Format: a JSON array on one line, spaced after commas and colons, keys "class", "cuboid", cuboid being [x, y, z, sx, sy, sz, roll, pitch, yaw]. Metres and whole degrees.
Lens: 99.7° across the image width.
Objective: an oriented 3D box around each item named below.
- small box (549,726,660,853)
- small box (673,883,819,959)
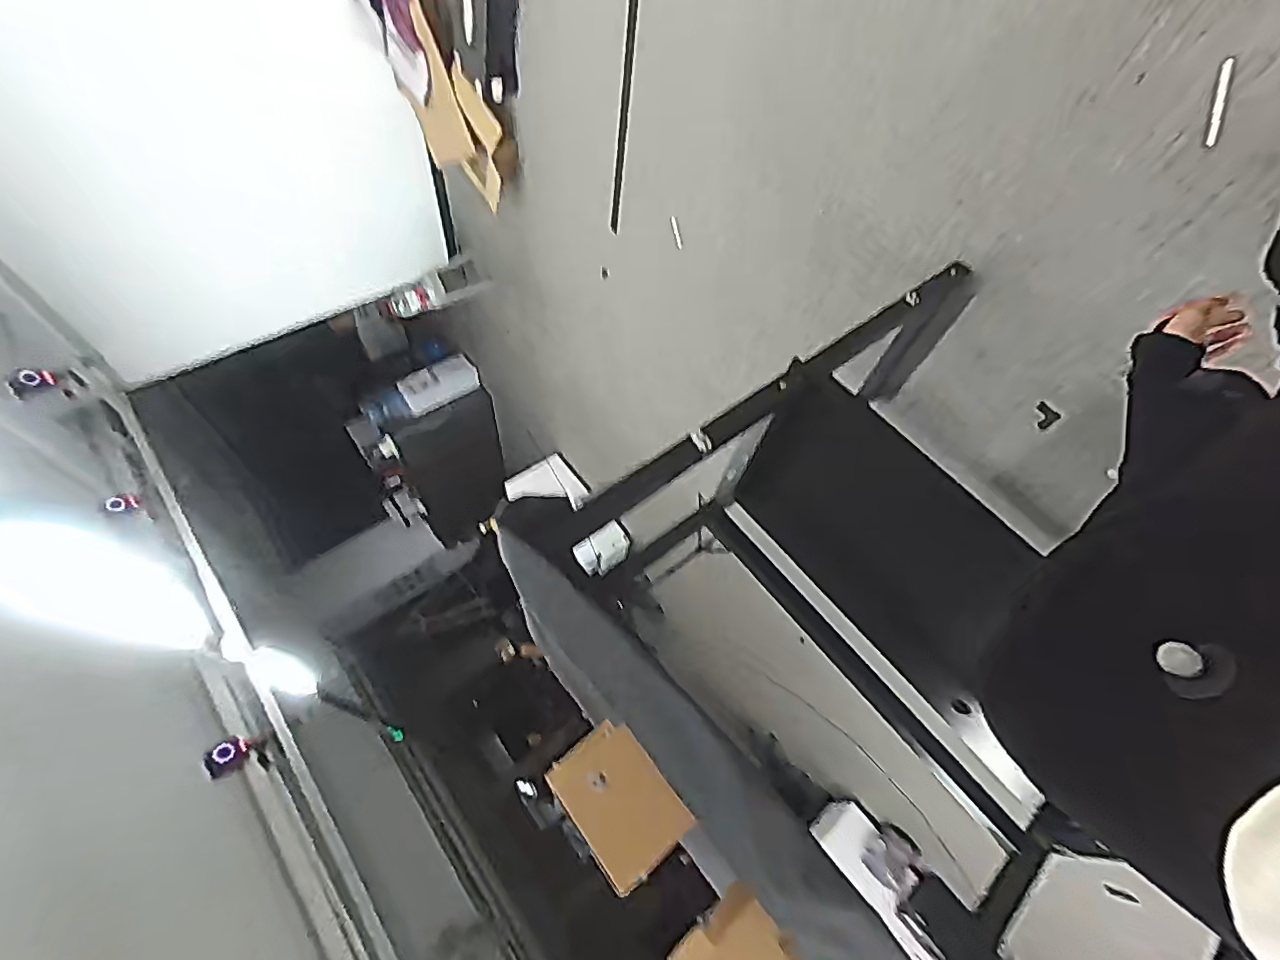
[{"class": "small box", "cuboid": [-0.075, 0.651, 1.151, 0.168, 0.176, 0.179, 47, 154, 20]}, {"class": "small box", "cuboid": [0.167, 0.731, 0.787, 0.168, 0.176, 0.179, 45, 155, 23]}]
